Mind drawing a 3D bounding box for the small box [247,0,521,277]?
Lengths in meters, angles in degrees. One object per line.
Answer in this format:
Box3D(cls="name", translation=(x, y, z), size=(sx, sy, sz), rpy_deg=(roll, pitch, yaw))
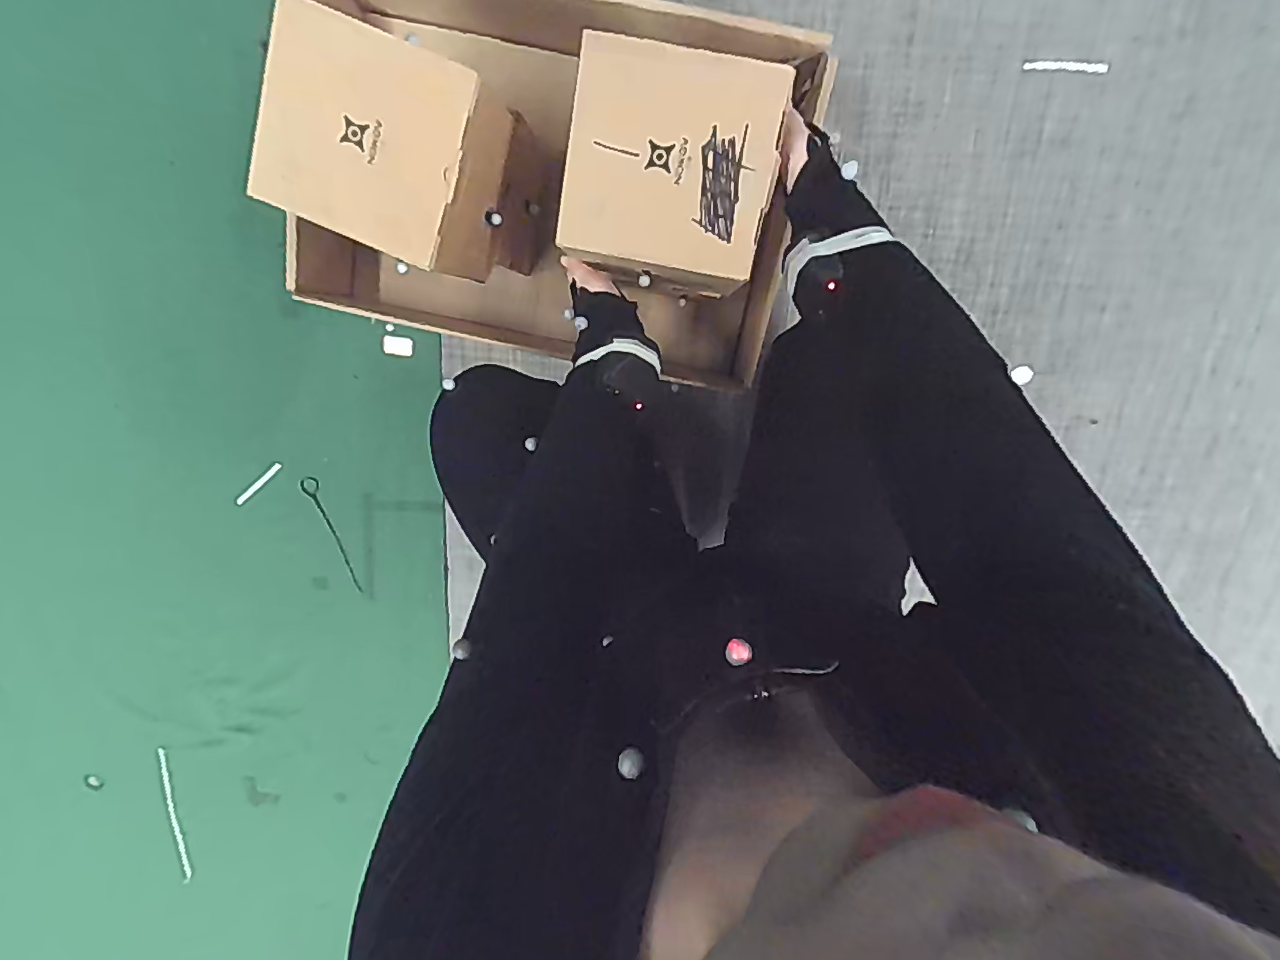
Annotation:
Box3D(cls="small box", translation=(-0.243, -0.318, 0.549), size=(0.179, 0.176, 0.168), rpy_deg=(21, 106, -4))
